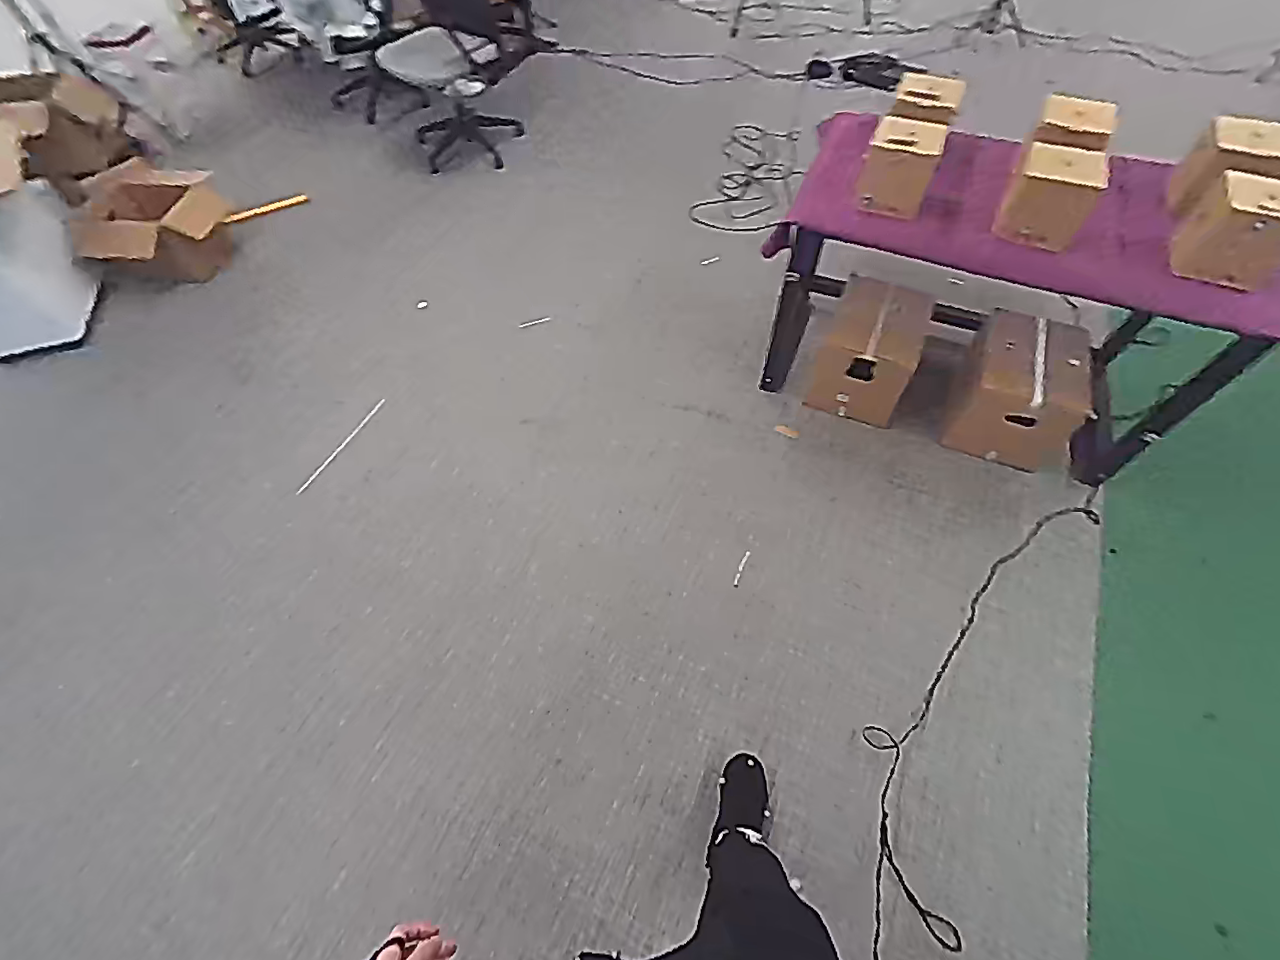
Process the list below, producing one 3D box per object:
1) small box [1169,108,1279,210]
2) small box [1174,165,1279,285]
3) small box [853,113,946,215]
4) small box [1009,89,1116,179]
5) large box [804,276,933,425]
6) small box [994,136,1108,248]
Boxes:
[{"bbox_3d":[1.492,-0.799,1.365,0.168,0.176,0.179,21,61,17],"label":"small box"},{"bbox_3d":[1.371,-0.578,1.229,0.168,0.176,0.179,21,58,17],"label":"small box"},{"bbox_3d":[0.678,-0.831,1.428,0.168,0.176,0.179,20,58,14],"label":"small box"},{"bbox_3d":[1.136,-0.914,1.462,0.168,0.176,0.179,22,62,16],"label":"small box"},{"bbox_3d":[0.828,-0.472,1.979,0.320,0.320,0.408,21,59,15],"label":"large box"},{"bbox_3d":[1.006,-0.708,1.334,0.168,0.176,0.179,21,60,17],"label":"small box"}]
